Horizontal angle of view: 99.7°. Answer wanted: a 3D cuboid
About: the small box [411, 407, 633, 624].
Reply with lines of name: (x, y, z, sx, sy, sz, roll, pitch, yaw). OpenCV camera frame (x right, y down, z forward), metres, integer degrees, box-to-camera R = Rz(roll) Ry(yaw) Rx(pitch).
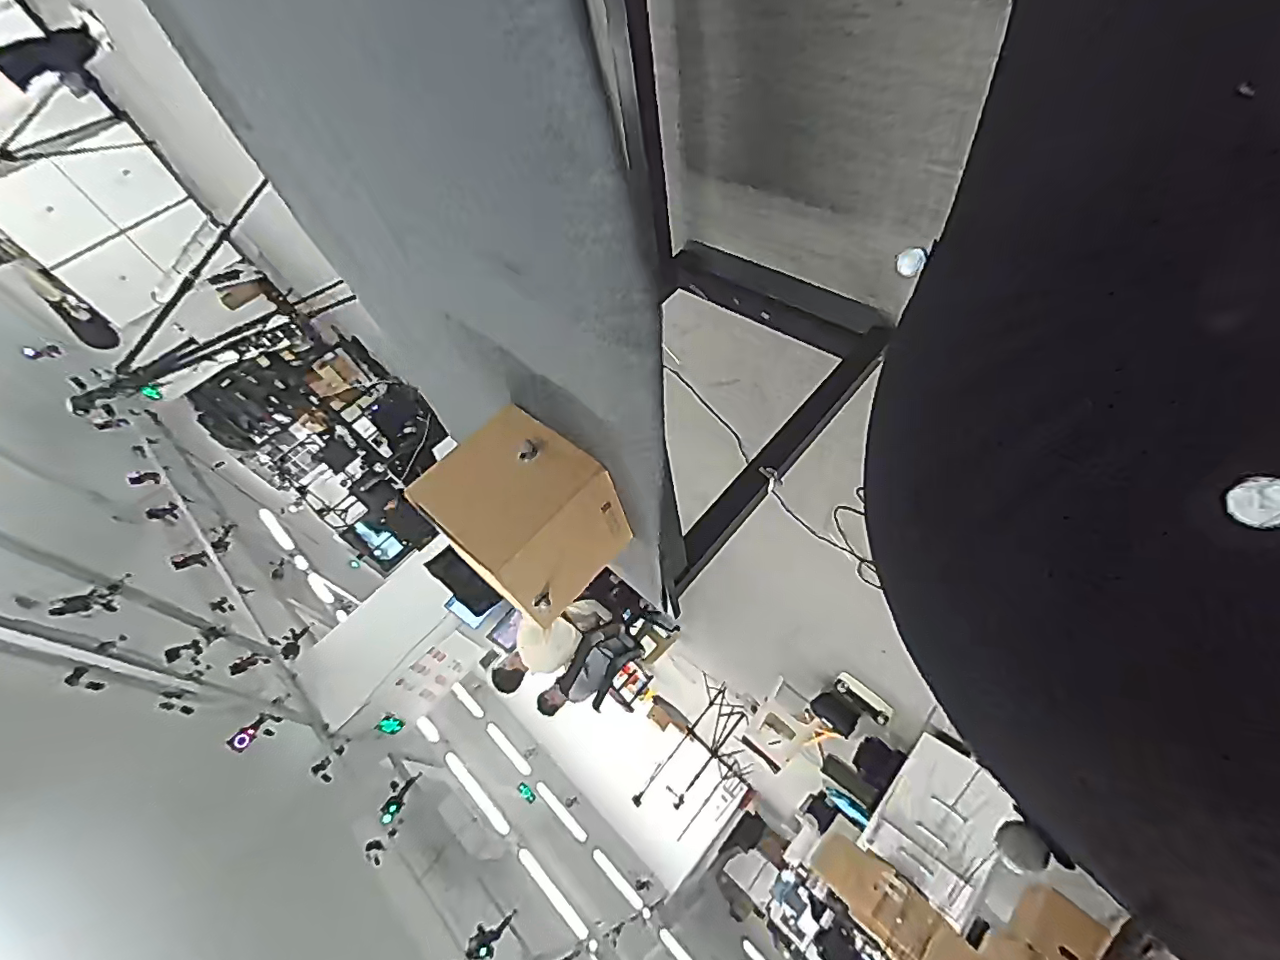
small box: (-0.135, 0.036, 0.666, 0.179, 0.176, 0.168, 34, 158, 29)
